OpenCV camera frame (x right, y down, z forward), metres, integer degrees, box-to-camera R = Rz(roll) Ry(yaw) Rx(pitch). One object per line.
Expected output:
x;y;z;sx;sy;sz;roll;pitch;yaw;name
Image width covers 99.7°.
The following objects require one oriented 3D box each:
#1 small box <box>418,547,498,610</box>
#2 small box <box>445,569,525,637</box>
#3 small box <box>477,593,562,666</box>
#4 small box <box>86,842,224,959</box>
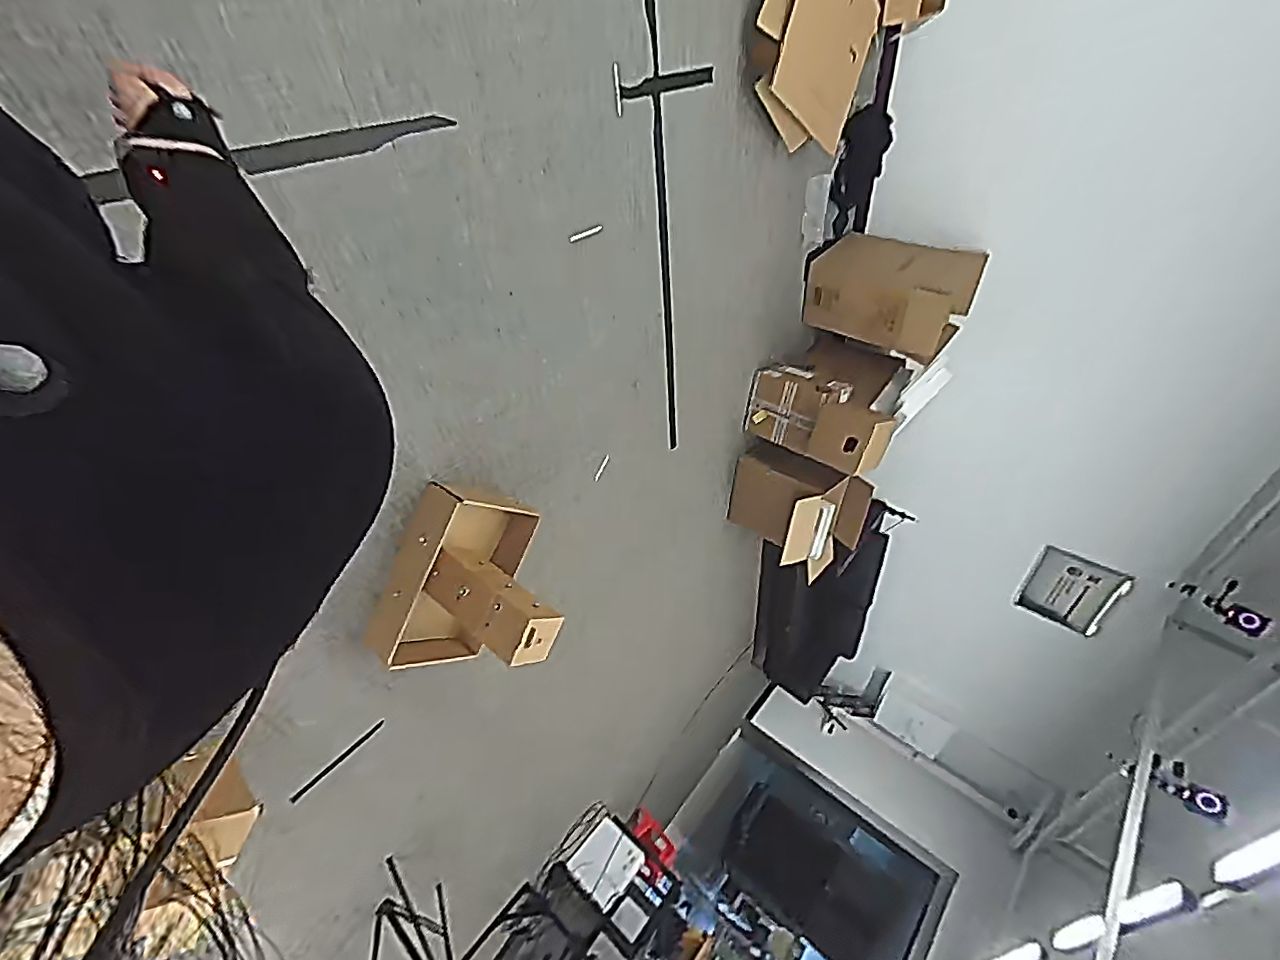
-0.645;0.352;1.921;0.179;0.176;0.168;25;91;-58;small box
-0.522;0.416;1.837;0.179;0.176;0.168;23;93;-57;small box
-0.394;0.478;1.754;0.179;0.176;0.168;20;95;-59;small box
-1.101;0.965;1.226;0.168;0.176;0.179;29;88;-58;small box
